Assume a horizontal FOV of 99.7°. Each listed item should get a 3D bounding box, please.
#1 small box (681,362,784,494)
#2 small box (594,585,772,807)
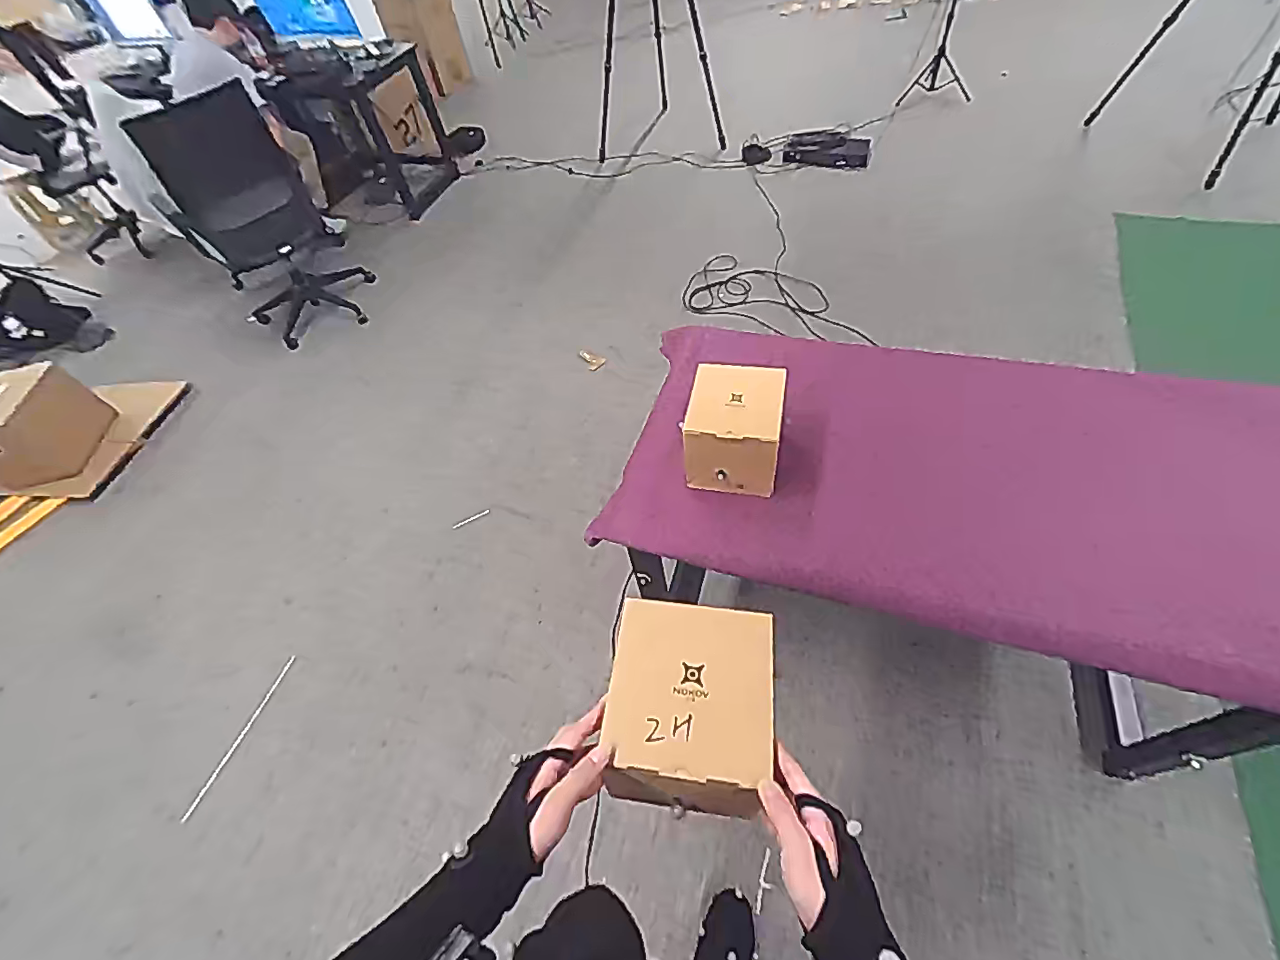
[{"bbox_3d":[0.176,-0.097,1.025,0.168,0.176,0.179,6,56,13],"label":"small box"},{"bbox_3d":[0.053,0.243,0.607,0.168,0.176,0.179,5,51,8],"label":"small box"}]
